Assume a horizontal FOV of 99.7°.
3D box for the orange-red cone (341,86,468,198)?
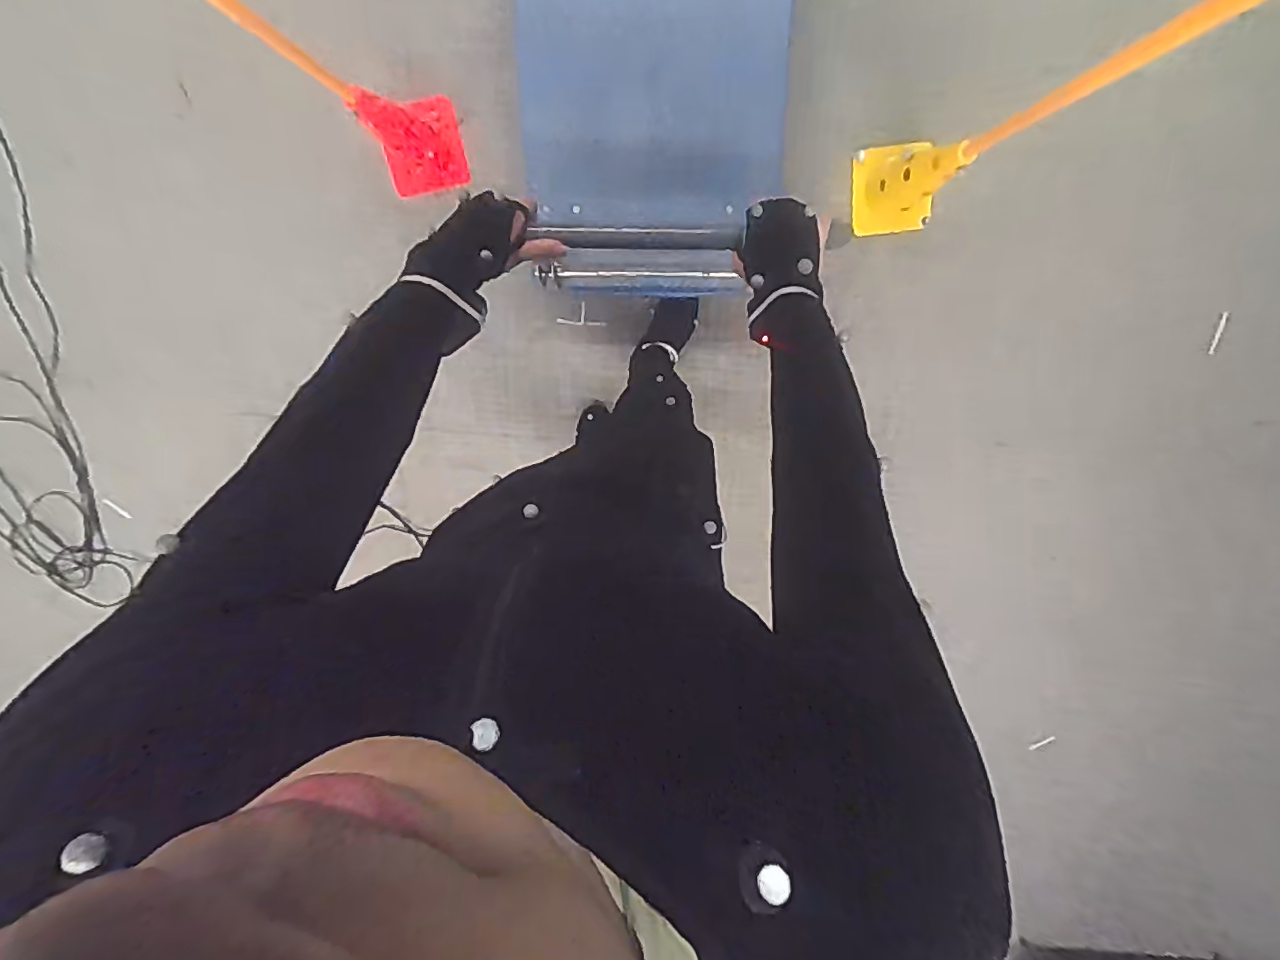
[{"bbox_3d":[-0.543,-0.772,1.184,0.199,0.360,0.198,-9,107,5],"label":"orange-red cone"}]
